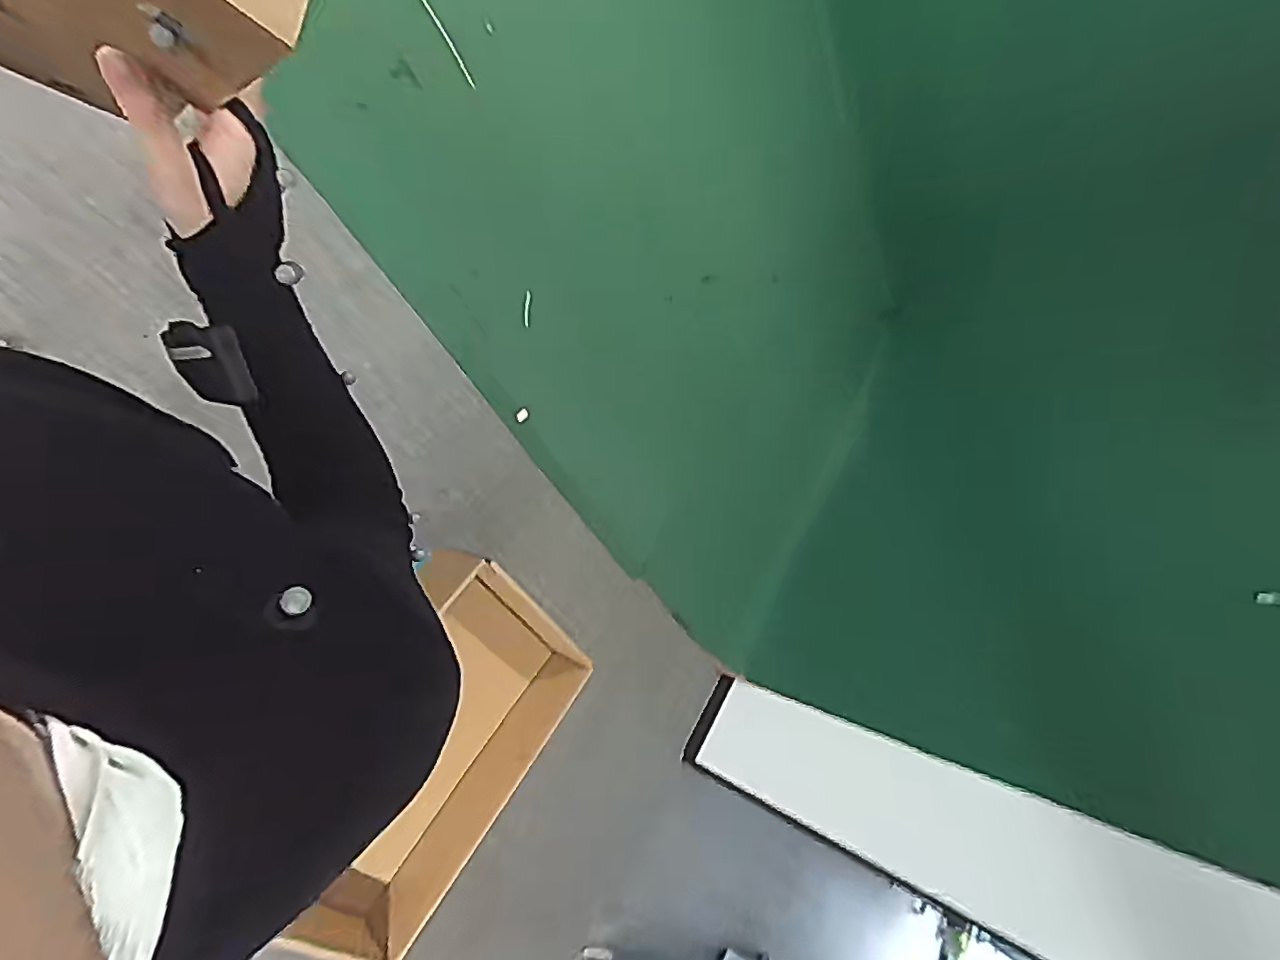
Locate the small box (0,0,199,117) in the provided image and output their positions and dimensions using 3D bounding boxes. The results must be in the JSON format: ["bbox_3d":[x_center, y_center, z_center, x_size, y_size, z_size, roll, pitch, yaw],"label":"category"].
[{"bbox_3d":[-0.393,-0.374,0.339,0.168,0.176,0.179,6,98,-50],"label":"small box"}]
